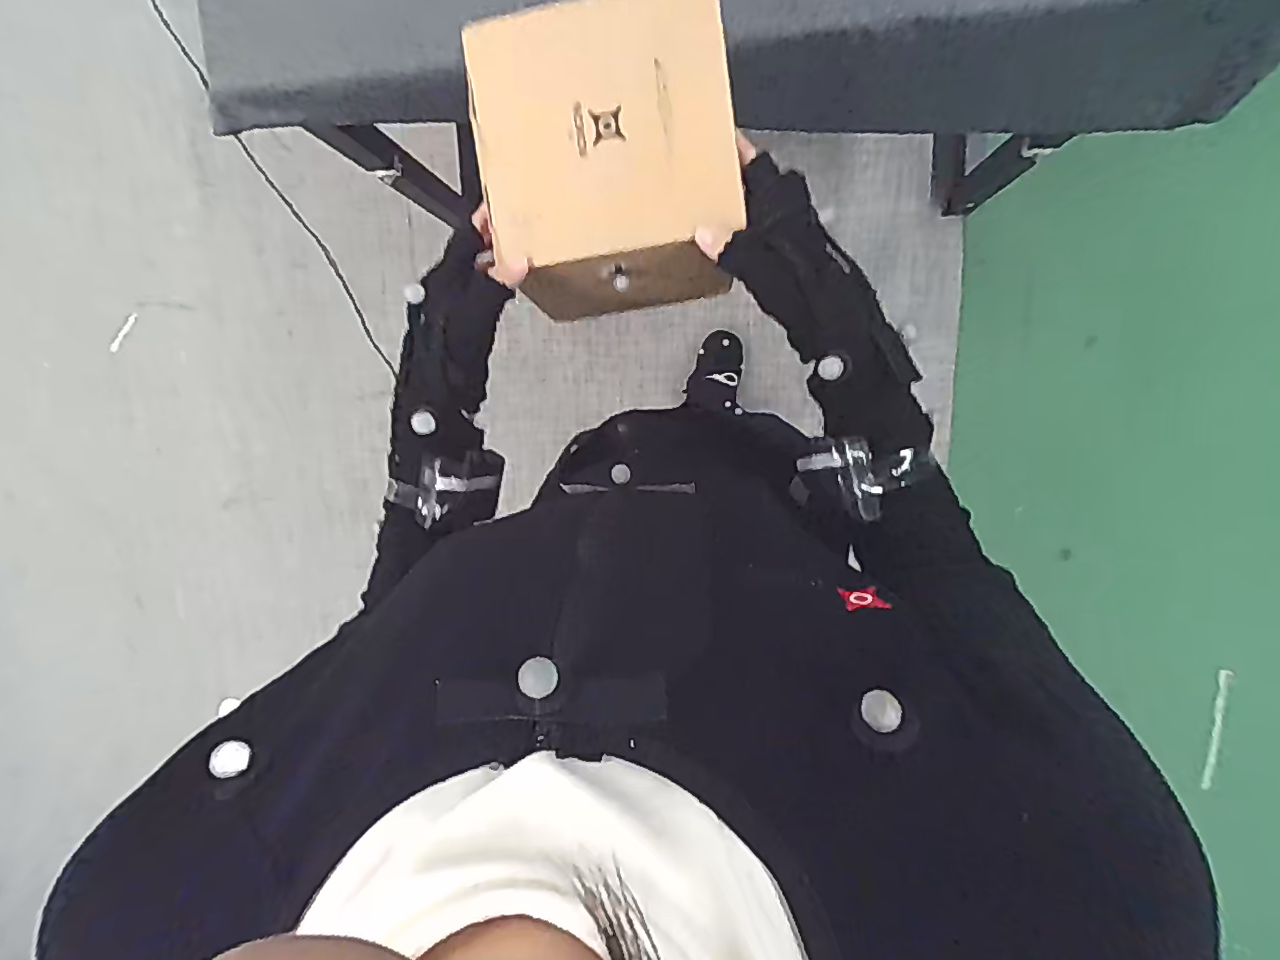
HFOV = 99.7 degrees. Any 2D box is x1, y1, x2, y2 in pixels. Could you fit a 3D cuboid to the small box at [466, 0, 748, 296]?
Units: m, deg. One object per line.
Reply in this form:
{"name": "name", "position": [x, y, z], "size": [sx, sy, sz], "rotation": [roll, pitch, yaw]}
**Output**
{"name": "small box", "position": [-0.016, -0.264, 0.445], "size": [0.179, 0.176, 0.168], "rotation": [-8, 95, 5]}
